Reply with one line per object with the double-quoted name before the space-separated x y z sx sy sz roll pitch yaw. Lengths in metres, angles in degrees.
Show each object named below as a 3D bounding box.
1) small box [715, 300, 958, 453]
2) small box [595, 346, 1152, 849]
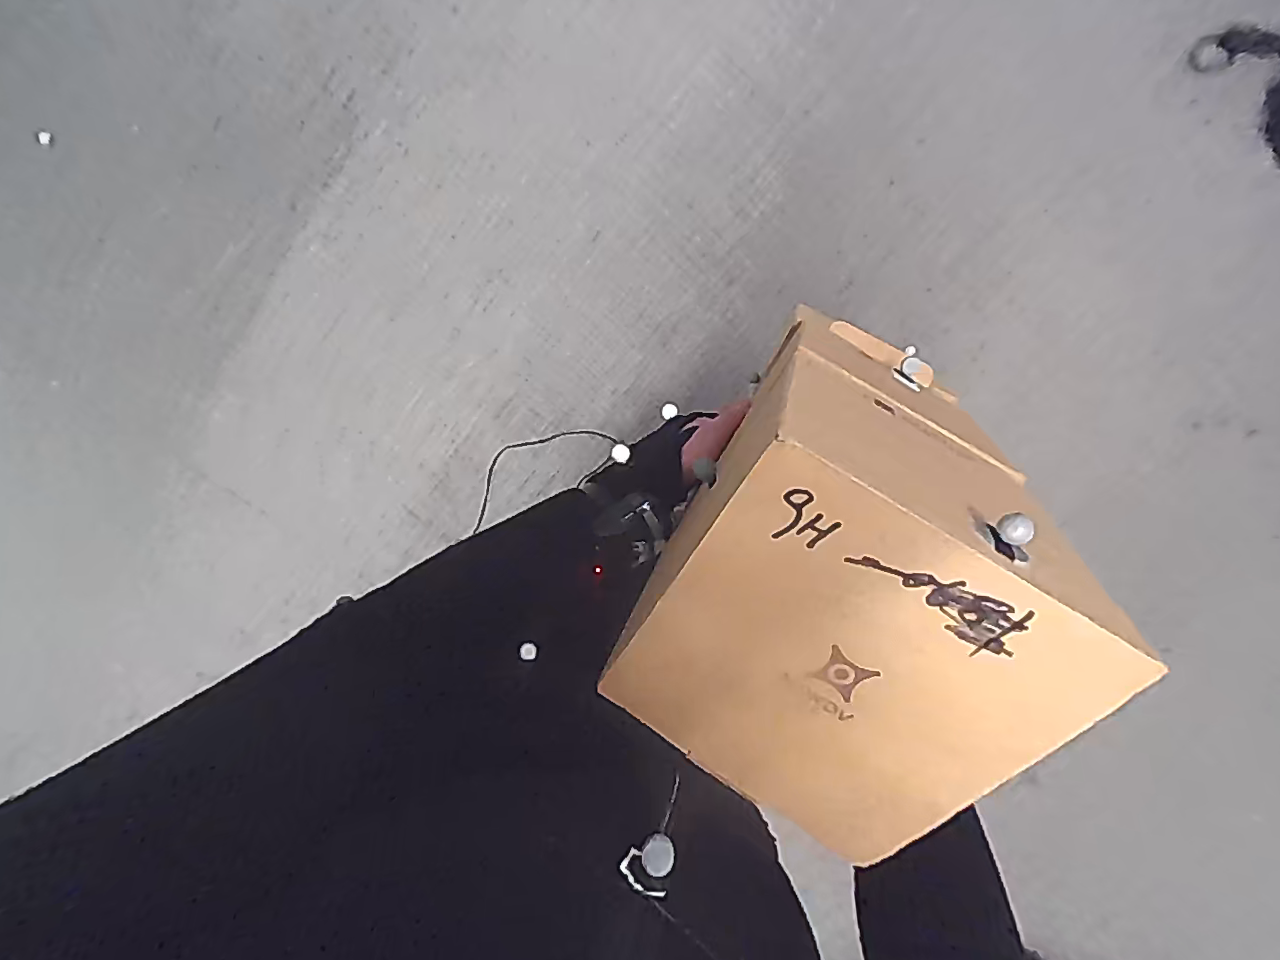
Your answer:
"small box" 0.200 -0.080 0.591 0.168 0.176 0.179 28 119 5
"small box" 0.104 0.051 0.306 0.168 0.176 0.179 31 121 3
